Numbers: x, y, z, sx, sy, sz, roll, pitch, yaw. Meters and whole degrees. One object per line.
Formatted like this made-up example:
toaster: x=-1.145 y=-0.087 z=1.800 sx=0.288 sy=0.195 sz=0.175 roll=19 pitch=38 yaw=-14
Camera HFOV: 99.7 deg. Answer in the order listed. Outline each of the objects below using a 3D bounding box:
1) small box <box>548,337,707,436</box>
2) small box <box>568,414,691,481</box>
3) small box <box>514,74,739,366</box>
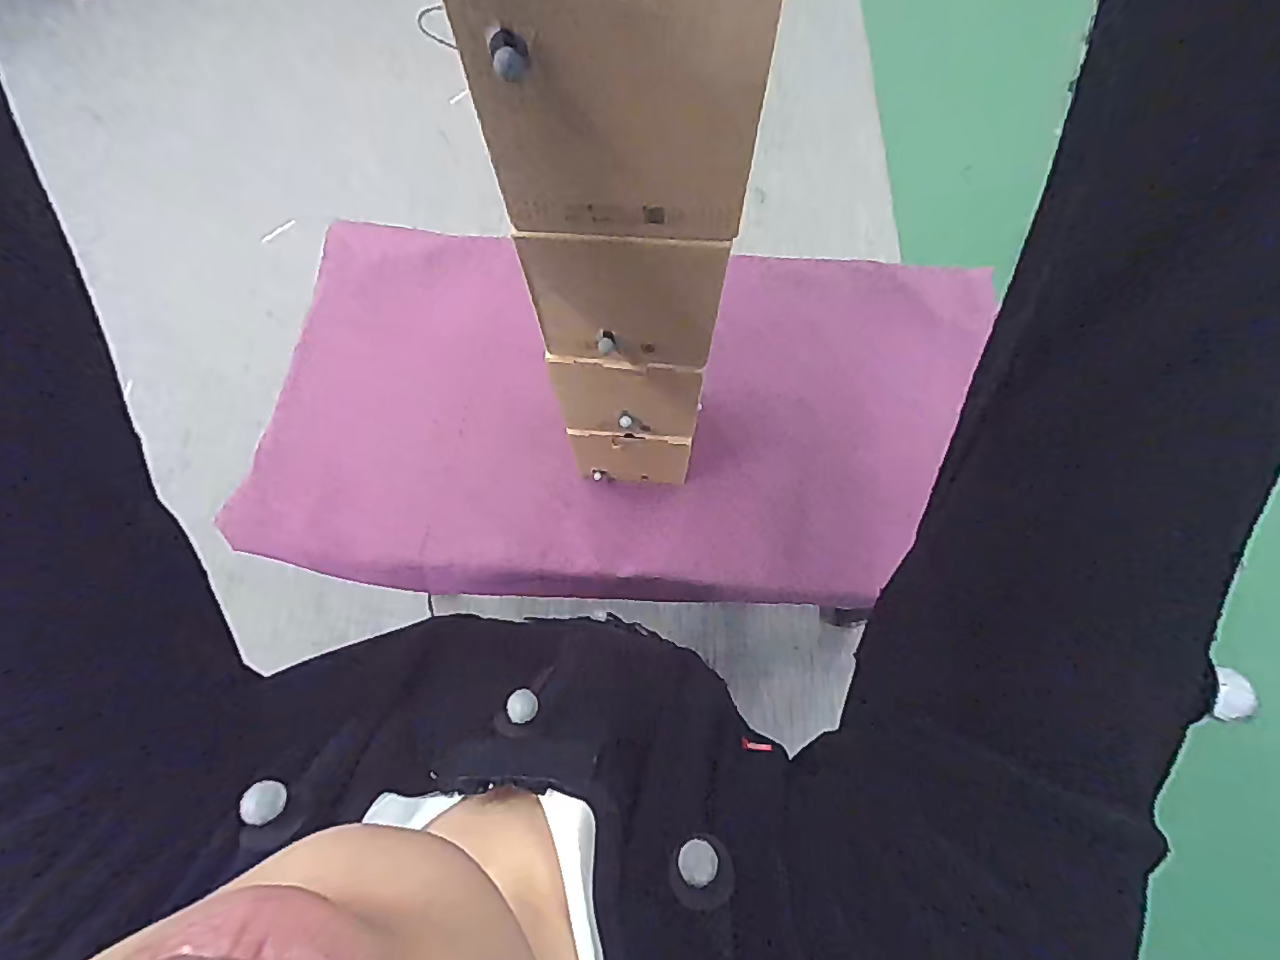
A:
small box: x=-0.006 y=-0.171 z=0.655 sx=0.168 sy=0.176 sz=0.179 roll=5 pitch=71 yaw=2
small box: x=-0.004 y=-0.108 z=0.807 sx=0.168 sy=0.176 sz=0.179 roll=5 pitch=70 yaw=2
small box: x=-0.006 y=-0.230 z=0.504 sx=0.168 sy=0.176 sz=0.179 roll=4 pitch=70 yaw=2
